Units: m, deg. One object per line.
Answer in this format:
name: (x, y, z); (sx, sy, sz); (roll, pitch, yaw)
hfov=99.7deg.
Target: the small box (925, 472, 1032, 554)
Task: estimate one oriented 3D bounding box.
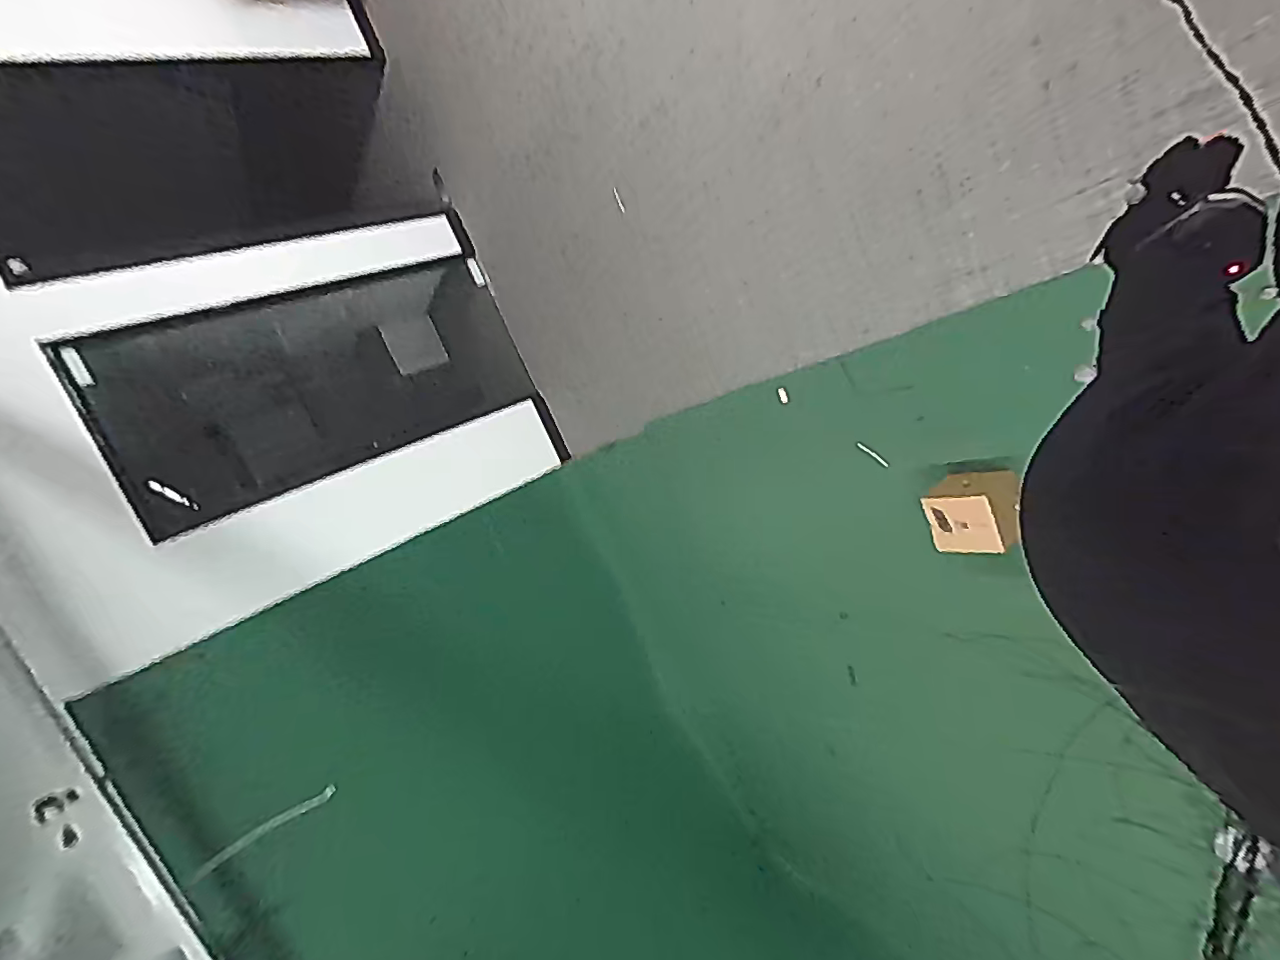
small box: (0.925, 0.088, 1.479); (0.179, 0.176, 0.168); (-9, 108, 58)
